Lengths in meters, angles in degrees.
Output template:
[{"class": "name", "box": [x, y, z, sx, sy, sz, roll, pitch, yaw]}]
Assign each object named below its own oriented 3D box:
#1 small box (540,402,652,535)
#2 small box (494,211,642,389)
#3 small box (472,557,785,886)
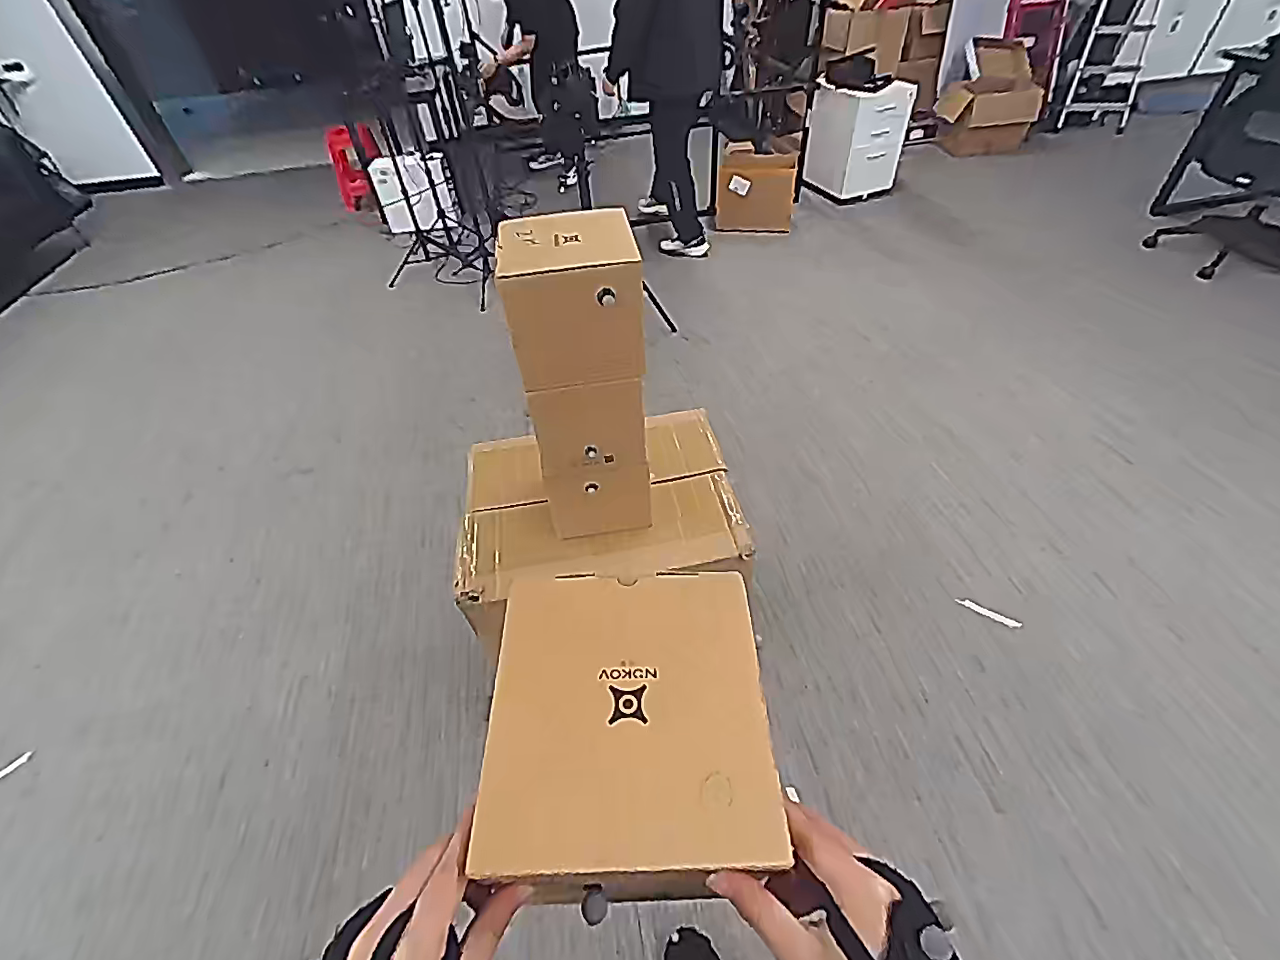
[{"class": "small box", "box": [-0.079, -0.018, 0.985, 0.179, 0.176, 0.168, -8, 46, -4]}, {"class": "small box", "box": [-0.093, -0.247, 0.749, 0.179, 0.176, 0.168, -9, 46, -4]}, {"class": "small box", "box": [-0.006, 0.176, 0.389, 0.168, 0.176, 0.179, -2, 47, -1]}]
